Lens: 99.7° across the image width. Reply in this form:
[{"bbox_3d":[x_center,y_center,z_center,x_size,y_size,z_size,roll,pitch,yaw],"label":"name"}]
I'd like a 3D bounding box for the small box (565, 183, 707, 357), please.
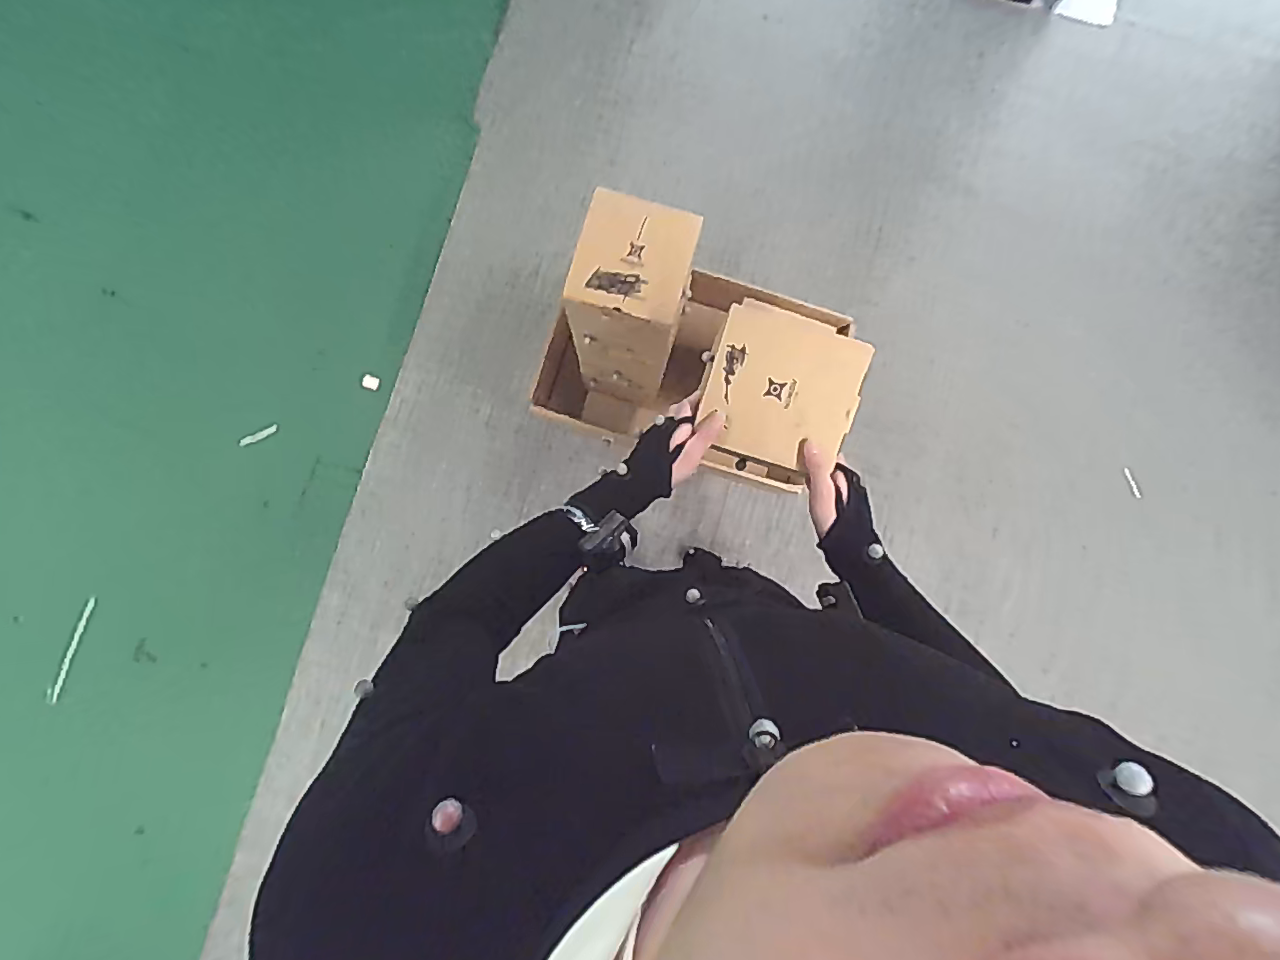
[{"bbox_3d":[-0.007,-0.314,0.846,0.168,0.176,0.179,16,84,-1],"label":"small box"}]

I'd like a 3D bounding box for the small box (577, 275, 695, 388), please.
[{"bbox_3d":[-0.010,-0.293,1.009,0.168,0.176,0.179,18,85,0],"label":"small box"}]

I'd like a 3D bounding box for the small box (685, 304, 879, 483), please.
[{"bbox_3d":[0.169,-0.104,0.702,0.179,0.176,0.168,18,92,-1],"label":"small box"}]

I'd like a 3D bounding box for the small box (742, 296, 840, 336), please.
[{"bbox_3d":[0.239,-0.212,1.012,0.179,0.176,0.168,19,86,-1],"label":"small box"}]
